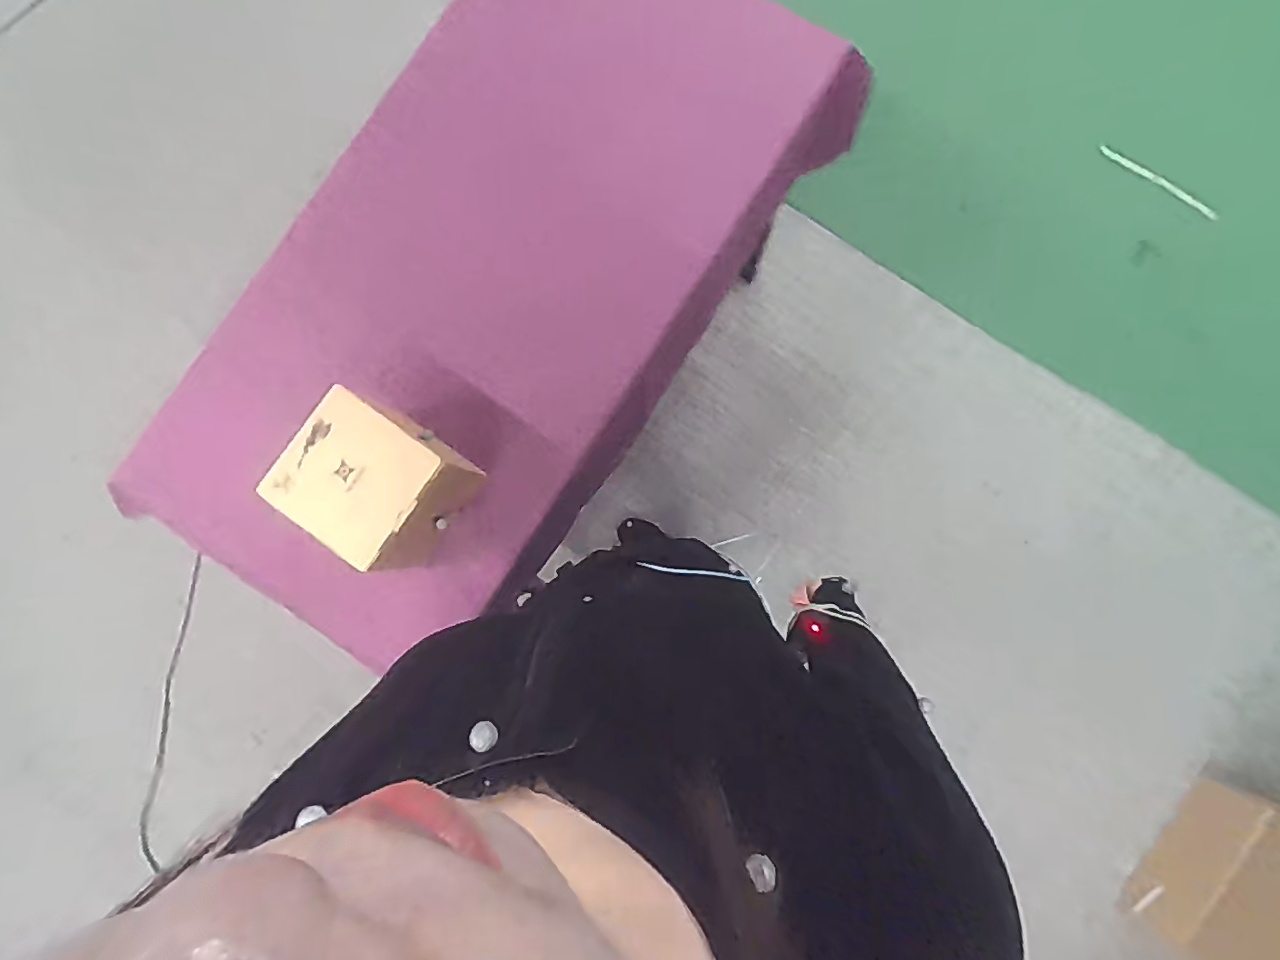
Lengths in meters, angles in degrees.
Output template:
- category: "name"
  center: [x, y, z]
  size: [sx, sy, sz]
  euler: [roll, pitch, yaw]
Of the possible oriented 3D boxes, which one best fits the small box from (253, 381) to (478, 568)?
- category: "small box"
  center: [-0.351, -0.003, 0.732]
  size: [0.179, 0.176, 0.168]
  euler: [35, 86, 4]
